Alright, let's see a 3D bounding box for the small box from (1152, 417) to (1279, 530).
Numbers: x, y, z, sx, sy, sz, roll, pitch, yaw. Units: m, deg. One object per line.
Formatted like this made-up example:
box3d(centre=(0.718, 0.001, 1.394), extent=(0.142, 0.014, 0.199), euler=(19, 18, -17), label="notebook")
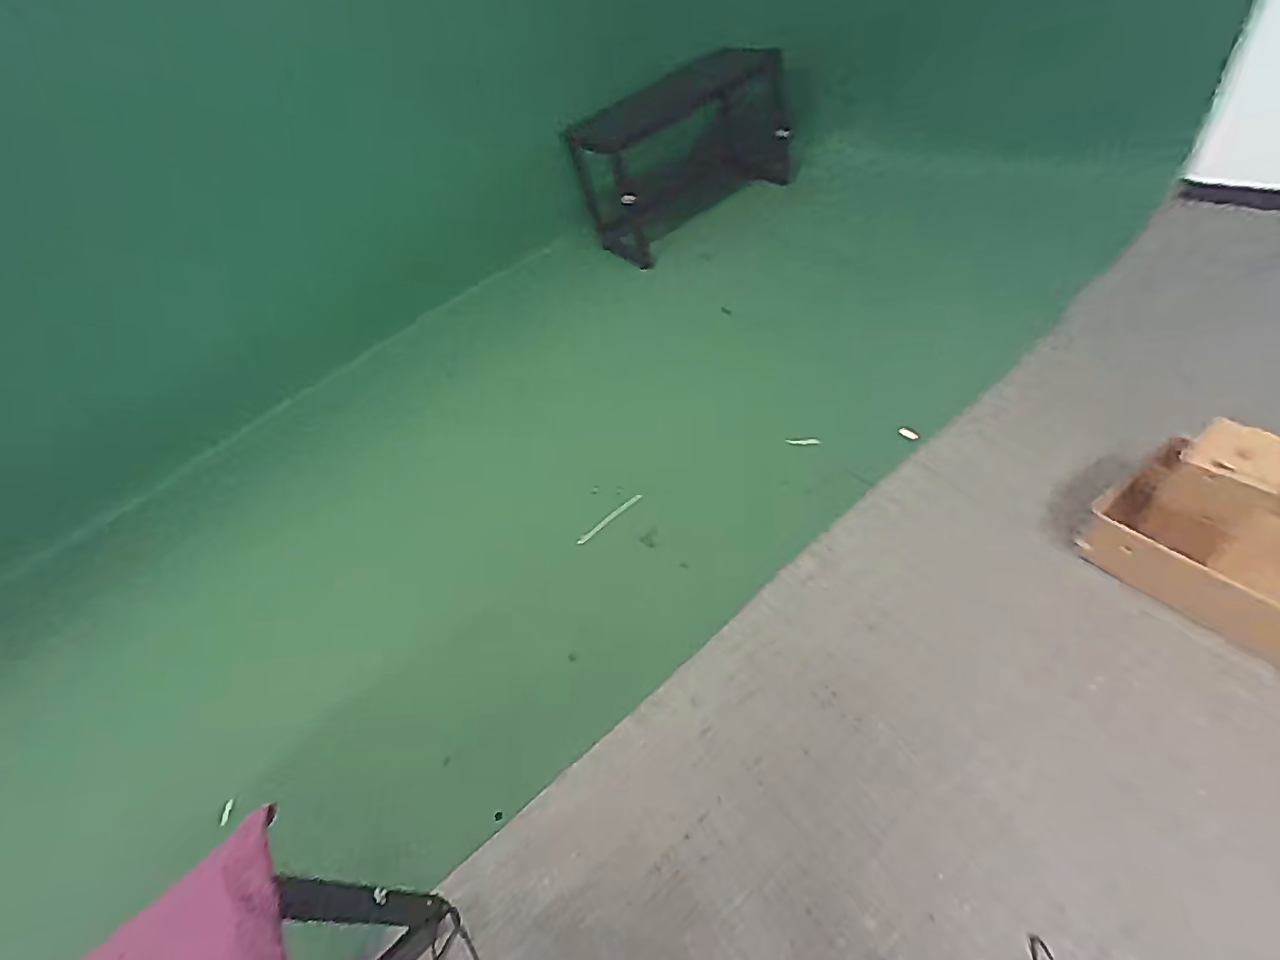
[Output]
box3d(centre=(1.406, -0.015, 1.313), extent=(0.179, 0.176, 0.168), euler=(-39, 49, -15), label="small box")
